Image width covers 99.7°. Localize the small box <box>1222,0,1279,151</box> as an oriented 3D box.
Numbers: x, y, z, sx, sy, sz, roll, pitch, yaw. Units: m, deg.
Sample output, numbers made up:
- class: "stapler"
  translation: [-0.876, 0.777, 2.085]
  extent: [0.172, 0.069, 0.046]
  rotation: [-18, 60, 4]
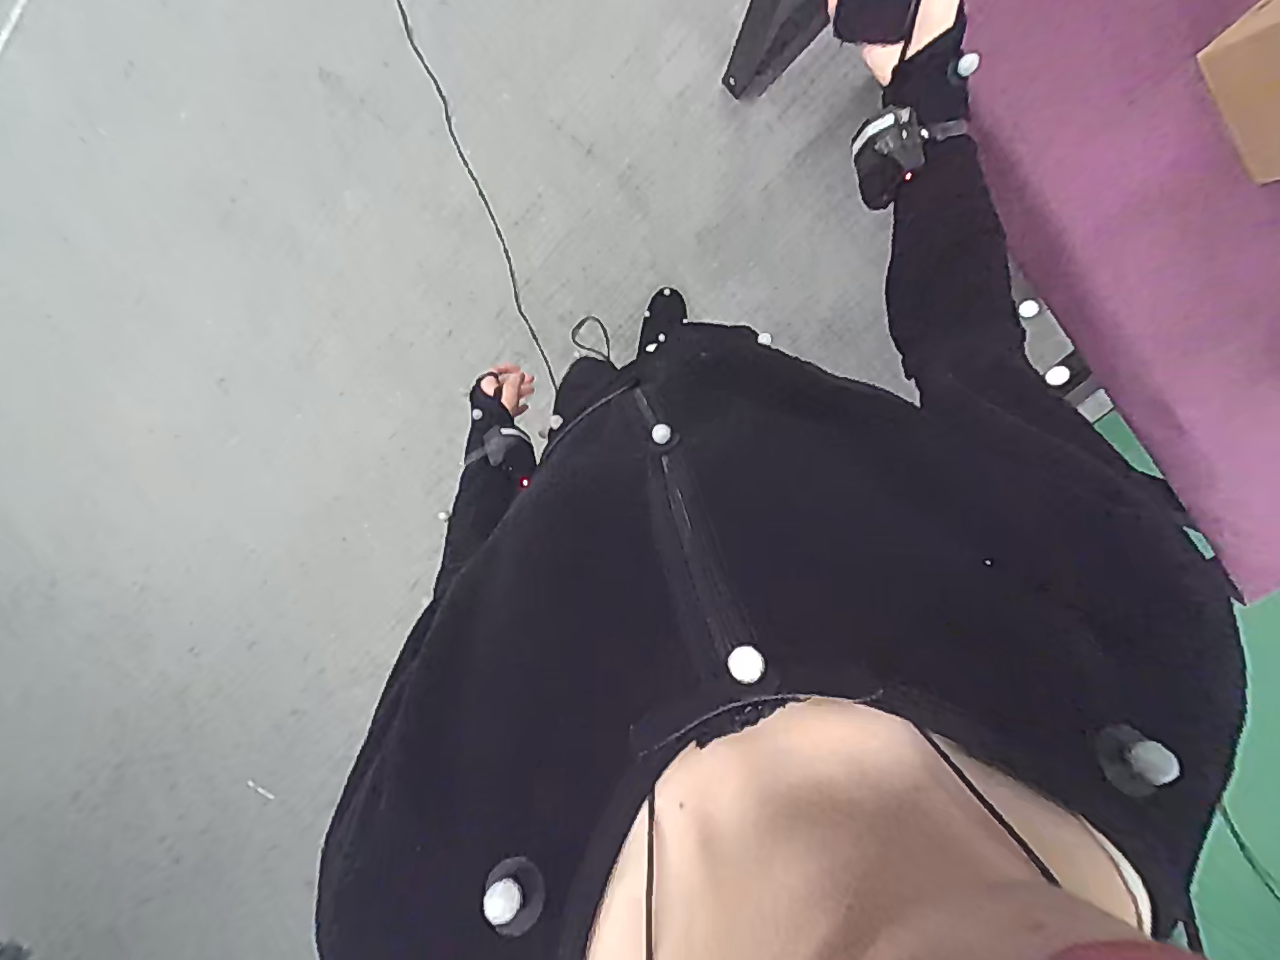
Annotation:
- class: "small box"
  translation: [0.743, -0.445, 0.514]
  extent: [0.168, 0.176, 0.179]
  rotation: [-40, 103, 13]
